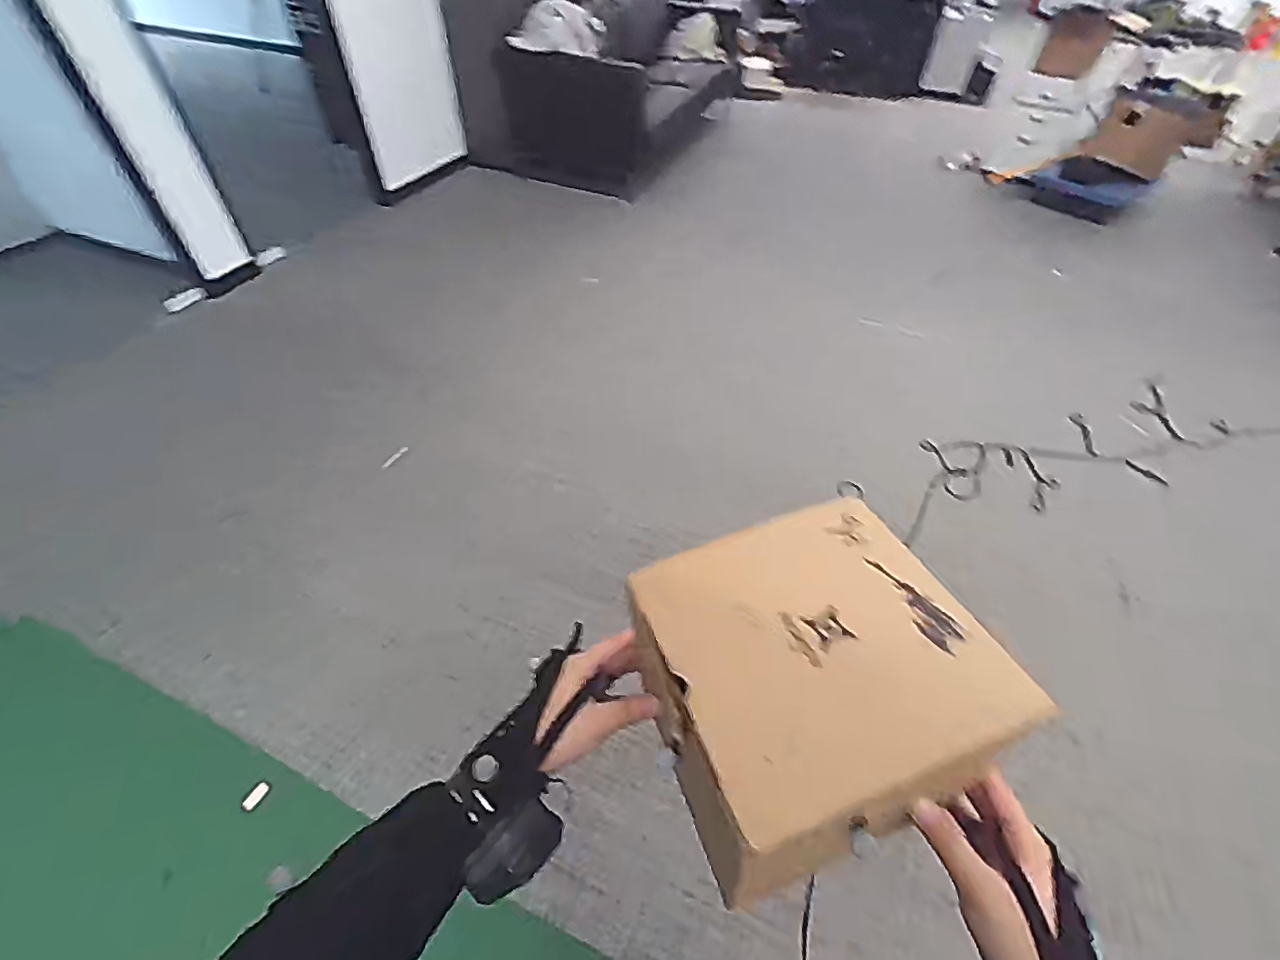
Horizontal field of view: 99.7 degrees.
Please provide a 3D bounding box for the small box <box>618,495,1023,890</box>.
[{"bbox_3d":[0.100,0.145,0.372,0.179,0.176,0.168,-18,46,-11],"label":"small box"}]
